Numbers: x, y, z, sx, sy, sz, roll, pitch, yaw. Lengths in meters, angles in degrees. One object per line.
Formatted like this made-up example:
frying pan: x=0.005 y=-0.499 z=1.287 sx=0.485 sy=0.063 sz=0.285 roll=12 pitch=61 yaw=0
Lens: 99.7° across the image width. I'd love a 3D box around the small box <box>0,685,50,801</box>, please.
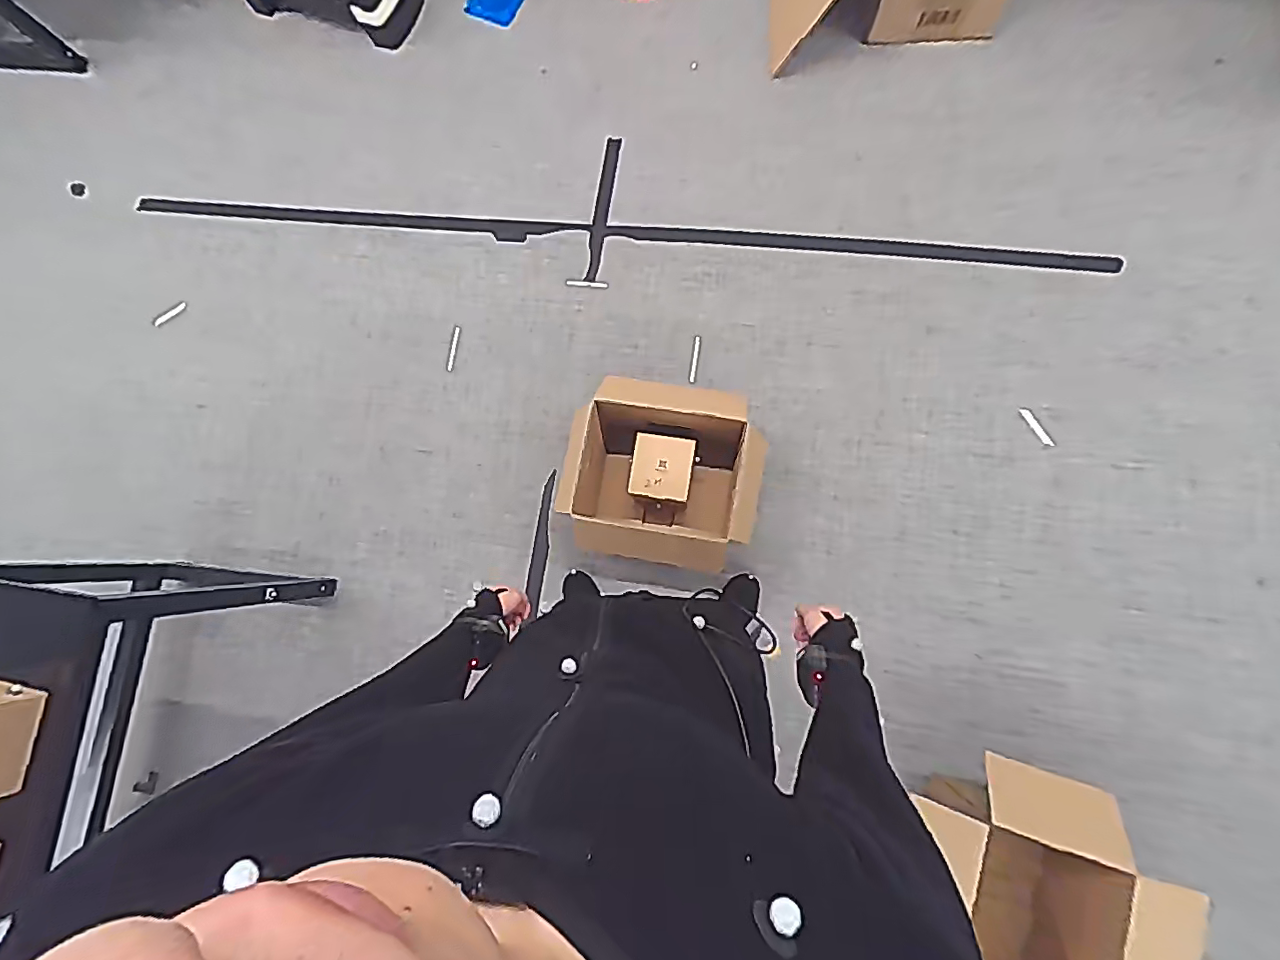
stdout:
small box: x=-1.177 y=0.458 z=0.917 sx=0.168 sy=0.176 sz=0.179 roll=9 pitch=85 yaw=8
